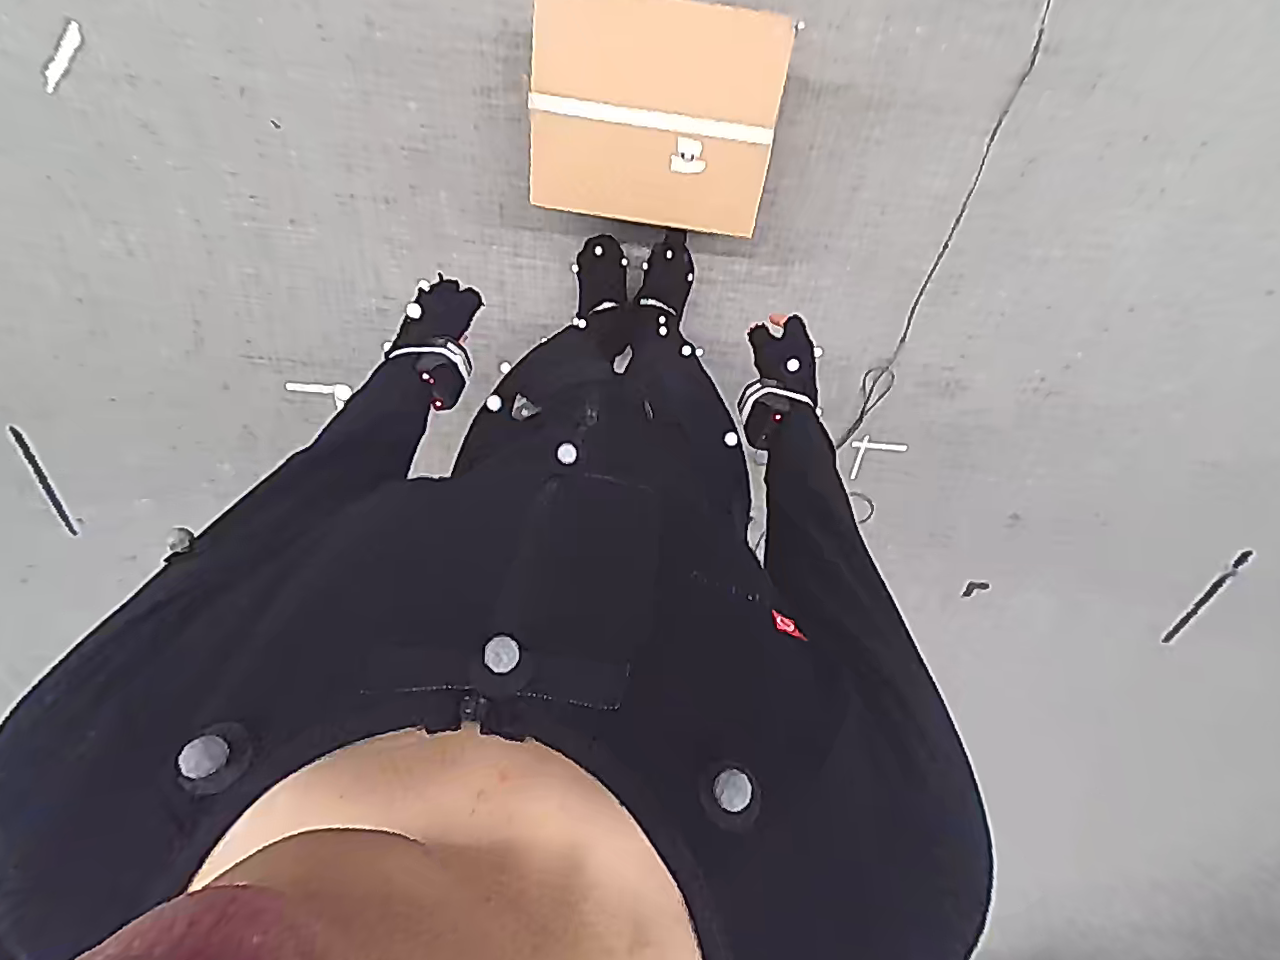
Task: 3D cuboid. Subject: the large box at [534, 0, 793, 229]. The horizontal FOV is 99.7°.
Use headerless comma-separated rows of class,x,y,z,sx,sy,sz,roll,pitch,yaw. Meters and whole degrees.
large box,0.024,-0.682,1.026,0.408,0.320,0.320,7,122,-3
